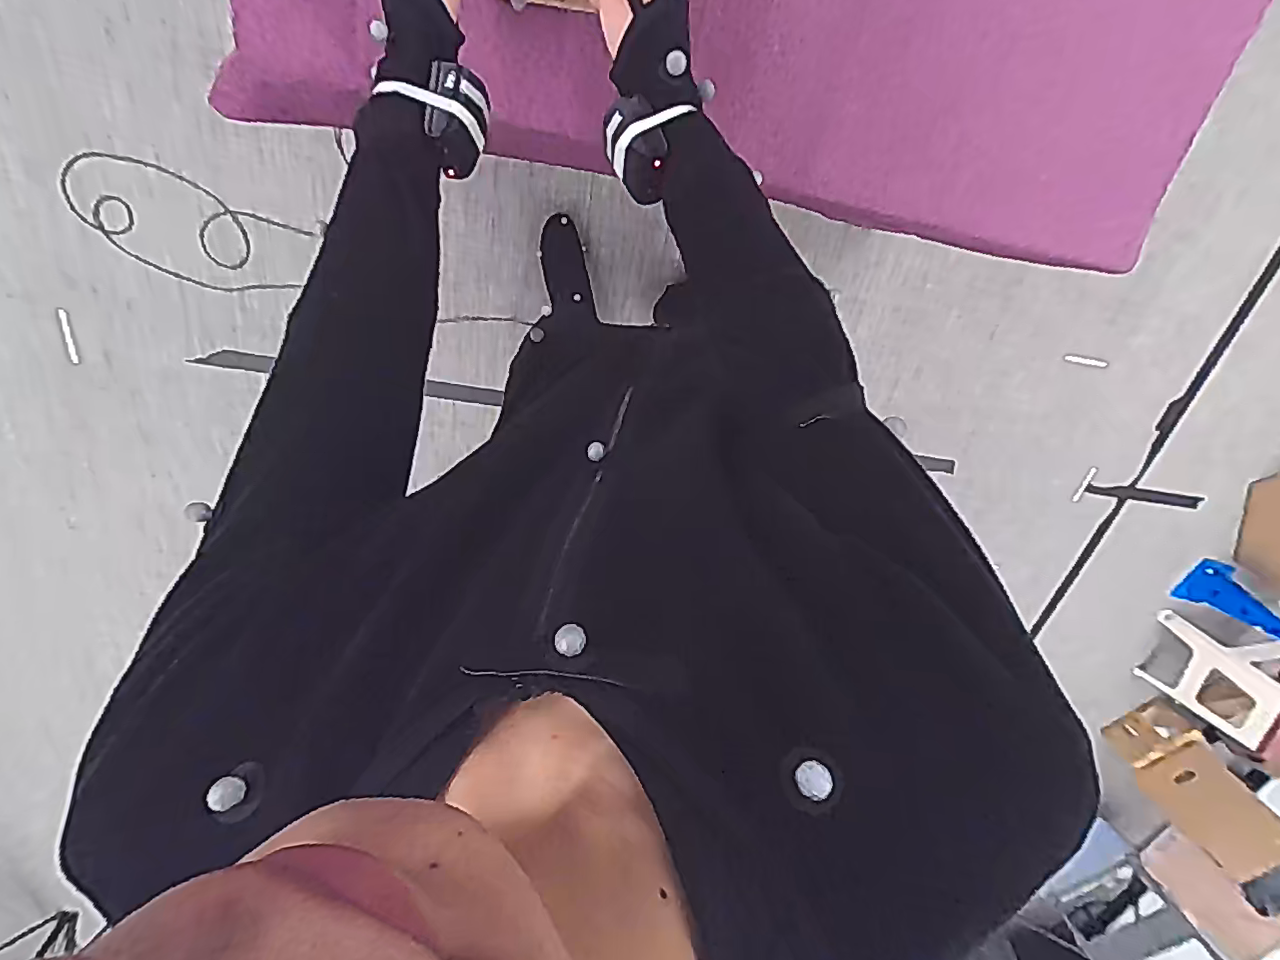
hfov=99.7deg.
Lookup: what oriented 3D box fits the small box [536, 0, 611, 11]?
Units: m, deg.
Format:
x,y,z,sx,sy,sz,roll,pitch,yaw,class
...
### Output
x,y,z,sx,sy,sz,roll,pitch,yaw,class
-0.095,-0.545,0.456,0.168,0.176,0.179,5,116,-6,small box
